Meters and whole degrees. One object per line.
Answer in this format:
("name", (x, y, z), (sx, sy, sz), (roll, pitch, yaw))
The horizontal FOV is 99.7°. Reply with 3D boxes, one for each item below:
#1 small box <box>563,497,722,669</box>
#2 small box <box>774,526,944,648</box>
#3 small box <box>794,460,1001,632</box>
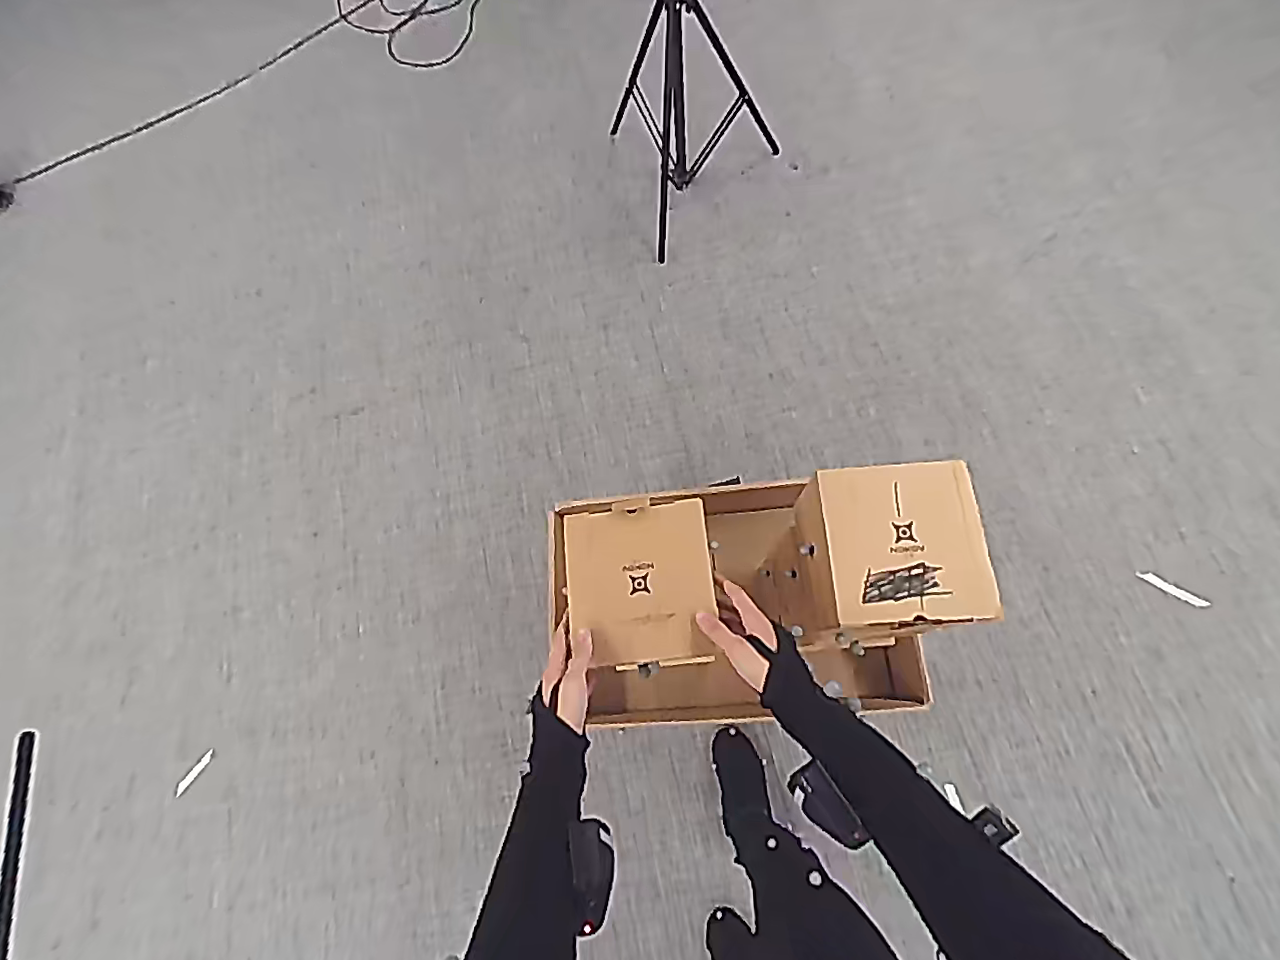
("small box", (0.005, 0.136, 0.670), (0.168, 0.176, 0.179), (-8, 70, 4))
("small box", (0.308, 0.155, 0.801), (0.179, 0.176, 0.168), (-8, 71, 4))
("small box", (0.288, 0.089, 0.649), (0.168, 0.176, 0.179), (-4, 71, 5))
